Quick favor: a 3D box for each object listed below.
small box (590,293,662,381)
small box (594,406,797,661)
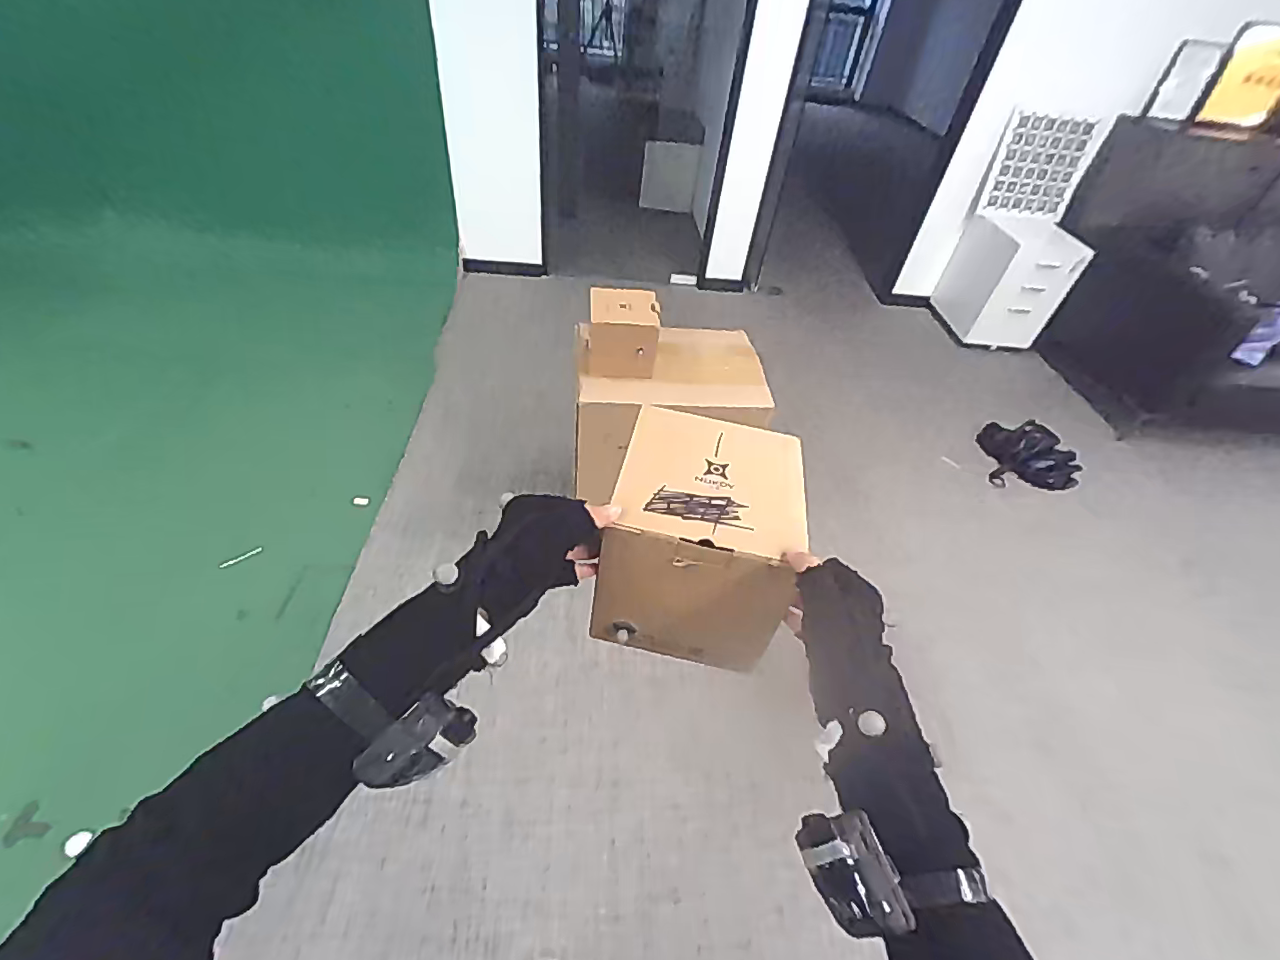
[{"bbox_3d":[-0.043,-0.381,1.456,0.179,0.176,0.168,-1,49,-6],"label":"small box"},{"bbox_3d":[0.052,0.054,0.546,0.168,0.176,0.179,13,41,3],"label":"small box"}]
